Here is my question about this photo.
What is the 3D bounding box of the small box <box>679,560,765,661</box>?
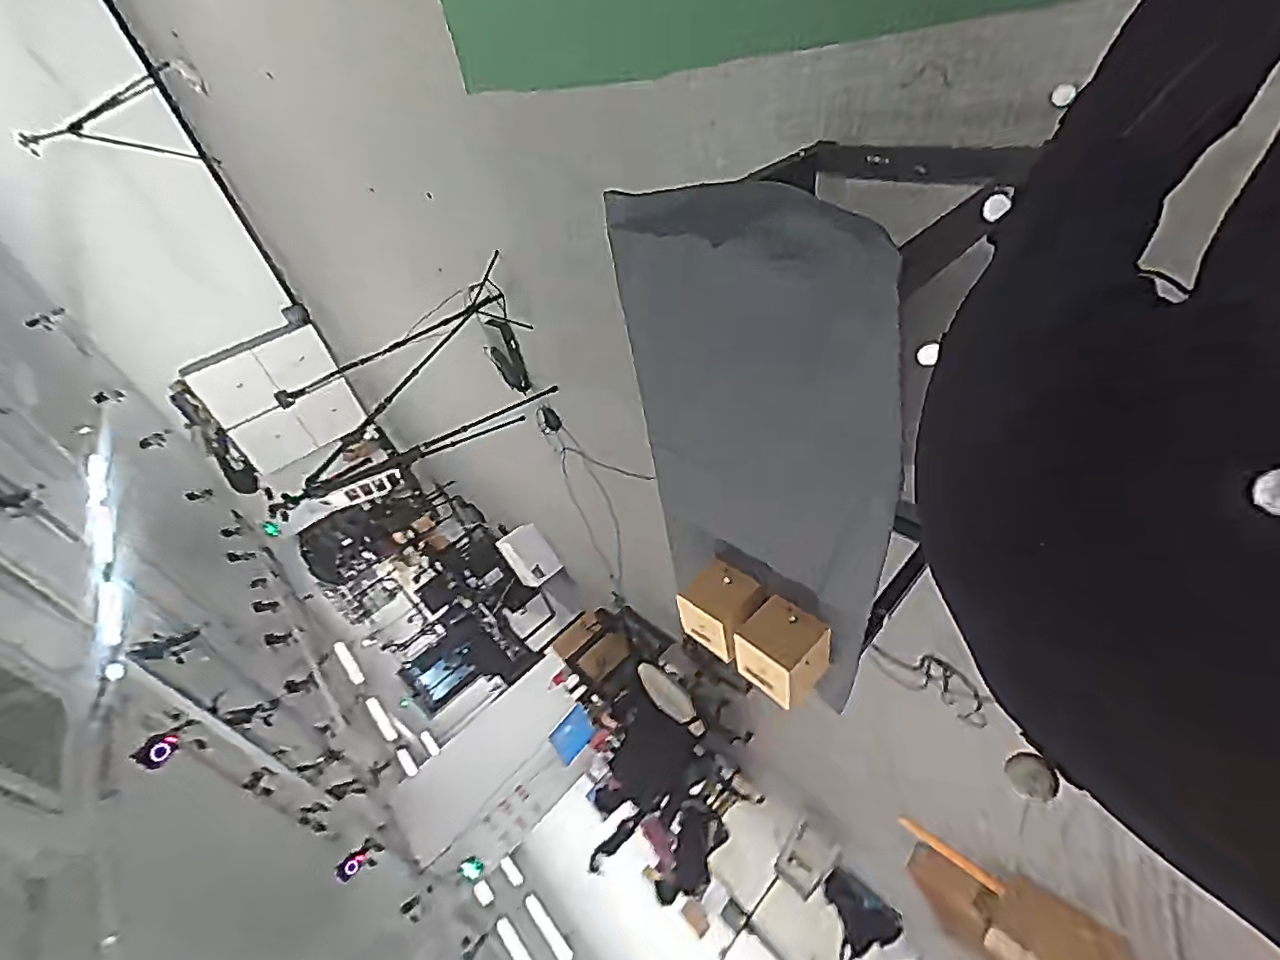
[{"bbox_3d":[0.234,0.358,1.504,0.168,0.176,0.179,27,143,41],"label":"small box"}]
